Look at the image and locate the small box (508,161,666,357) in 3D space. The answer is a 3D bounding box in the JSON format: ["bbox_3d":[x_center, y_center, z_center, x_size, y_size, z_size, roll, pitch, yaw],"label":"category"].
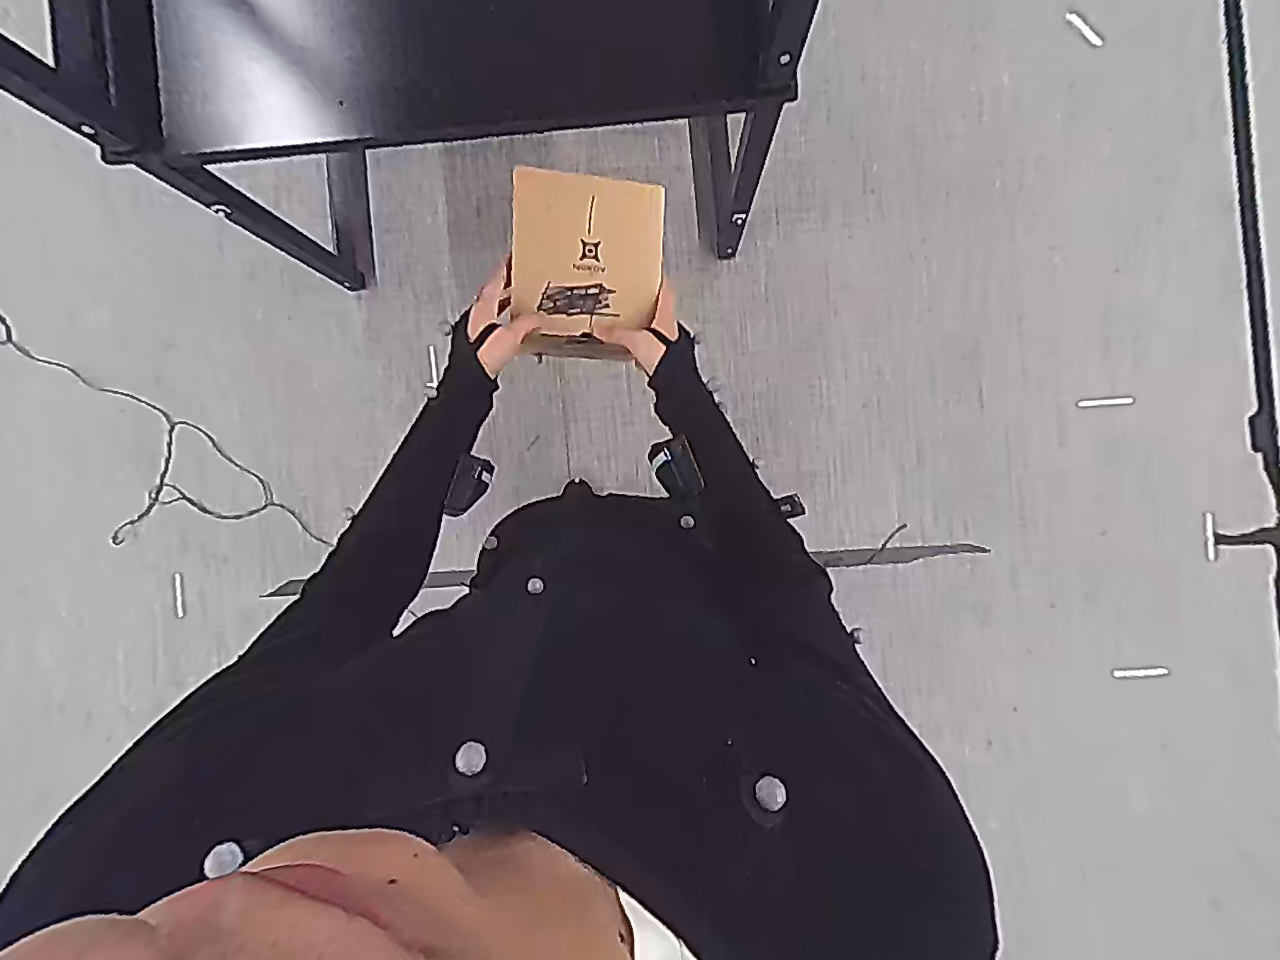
[{"bbox_3d":[-0.071,-0.252,0.665,0.168,0.176,0.179,2,94,-12],"label":"small box"}]
